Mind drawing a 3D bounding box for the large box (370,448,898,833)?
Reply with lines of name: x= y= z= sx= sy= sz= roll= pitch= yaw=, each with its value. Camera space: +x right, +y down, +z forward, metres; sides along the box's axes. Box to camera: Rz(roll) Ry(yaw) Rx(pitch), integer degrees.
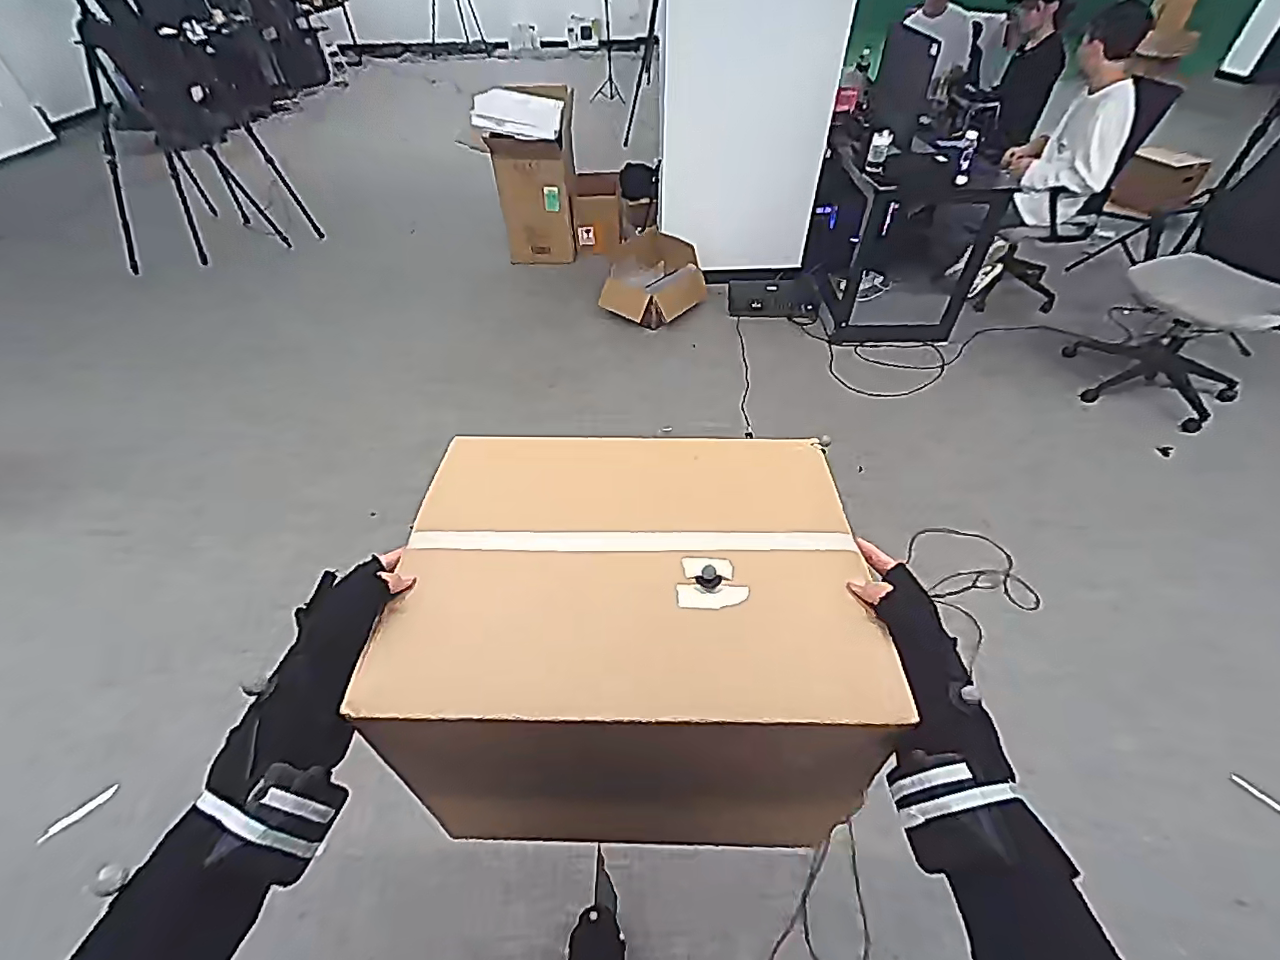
large box: x=-0.005 y=0.177 z=0.608 sx=0.408 sy=0.320 sz=0.320 roll=1 pitch=43 yaw=1
